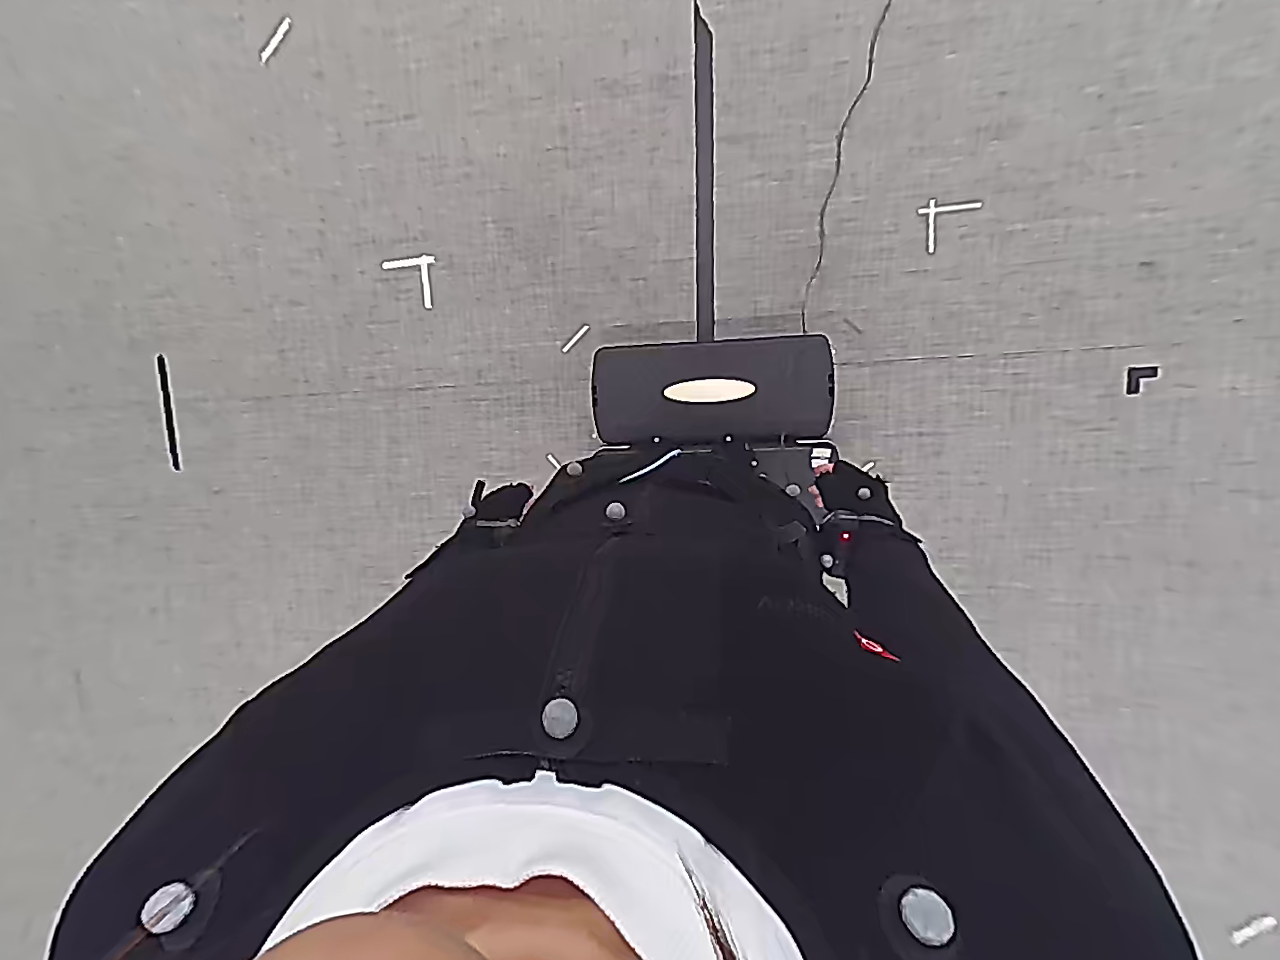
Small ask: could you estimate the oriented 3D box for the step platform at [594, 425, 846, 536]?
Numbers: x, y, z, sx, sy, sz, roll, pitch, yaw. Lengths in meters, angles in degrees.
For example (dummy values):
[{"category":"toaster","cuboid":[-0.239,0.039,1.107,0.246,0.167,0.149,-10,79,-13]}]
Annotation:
[{"category":"step platform","cuboid":[0.212,0.003,1.512,0.684,0.204,0.286,-2,95,10]}]
